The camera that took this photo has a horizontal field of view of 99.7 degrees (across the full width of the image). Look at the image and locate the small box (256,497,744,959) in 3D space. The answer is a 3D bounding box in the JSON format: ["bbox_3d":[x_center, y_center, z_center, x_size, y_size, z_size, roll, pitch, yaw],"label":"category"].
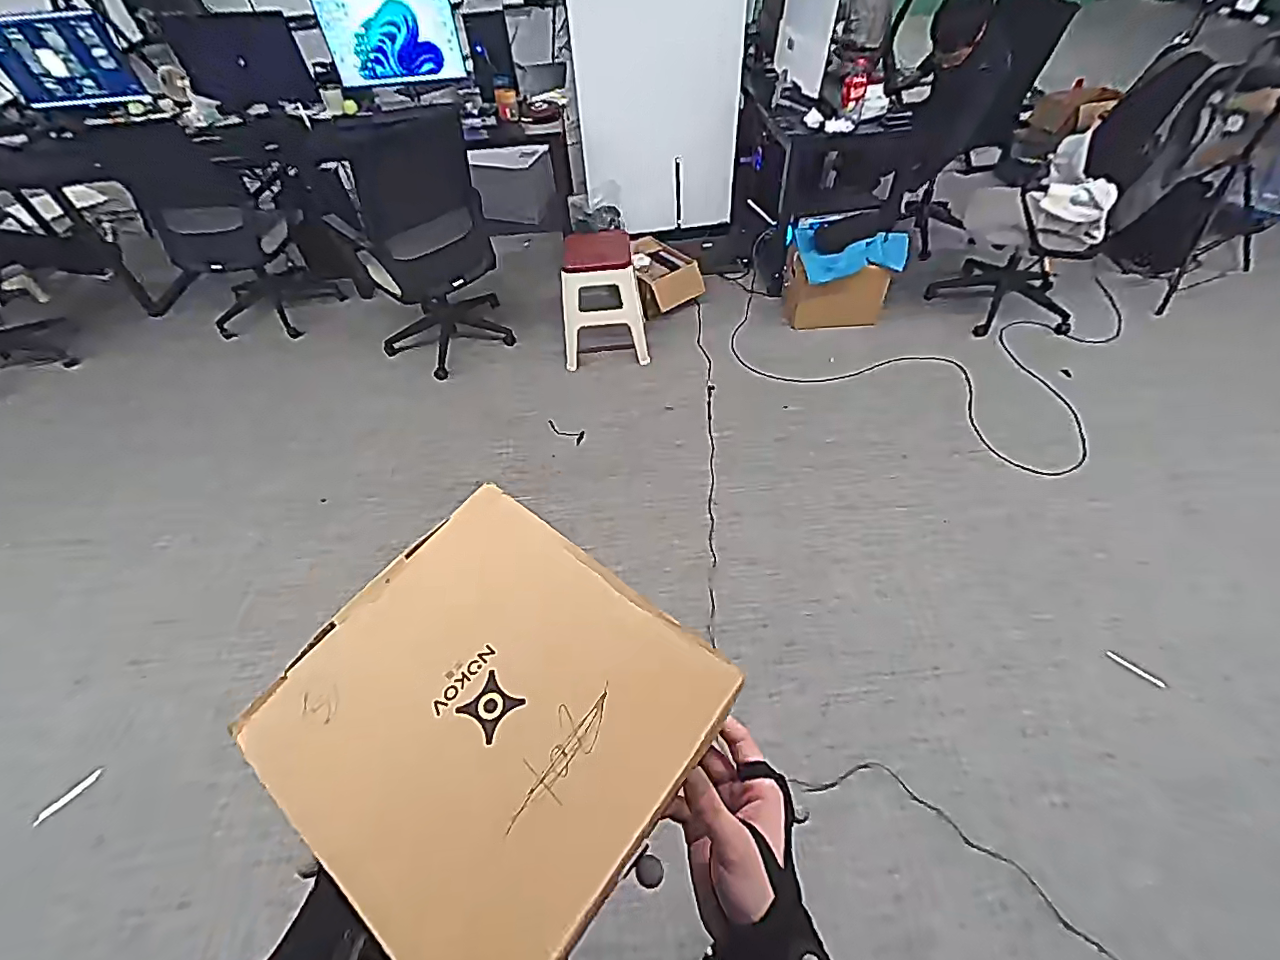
[{"bbox_3d":[-0.062,0.148,0.322,0.179,0.176,0.168,31,65,21],"label":"small box"}]
